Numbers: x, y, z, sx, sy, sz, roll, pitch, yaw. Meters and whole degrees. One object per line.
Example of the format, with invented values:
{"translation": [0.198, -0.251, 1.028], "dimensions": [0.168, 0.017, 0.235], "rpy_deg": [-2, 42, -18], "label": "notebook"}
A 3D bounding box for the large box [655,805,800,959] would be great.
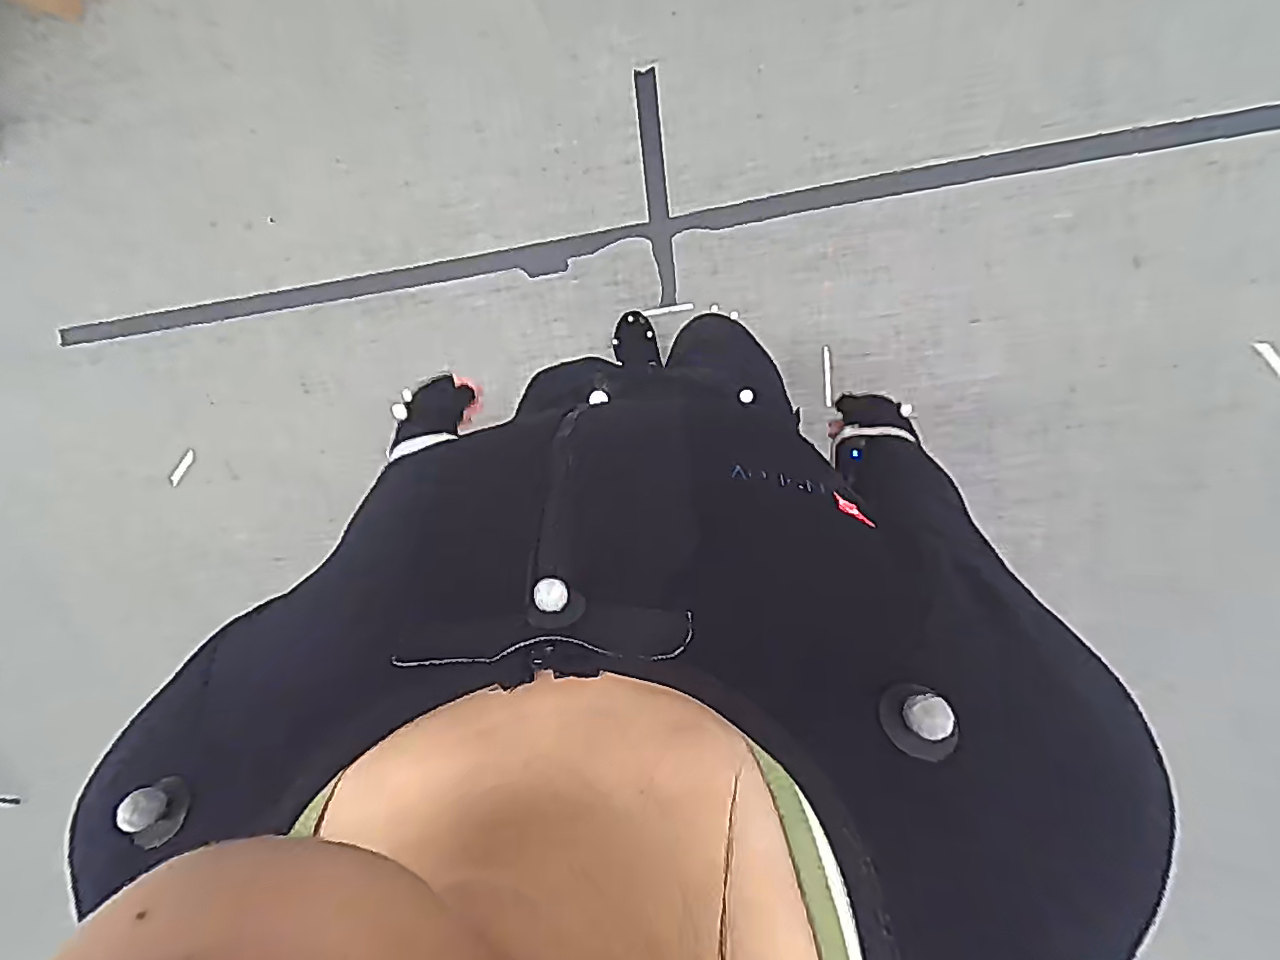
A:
{"translation": [0.257, 1.254, 1.668], "dimensions": [0.408, 0.320, 0.320], "rpy_deg": [1, 104, 5], "label": "large box"}
